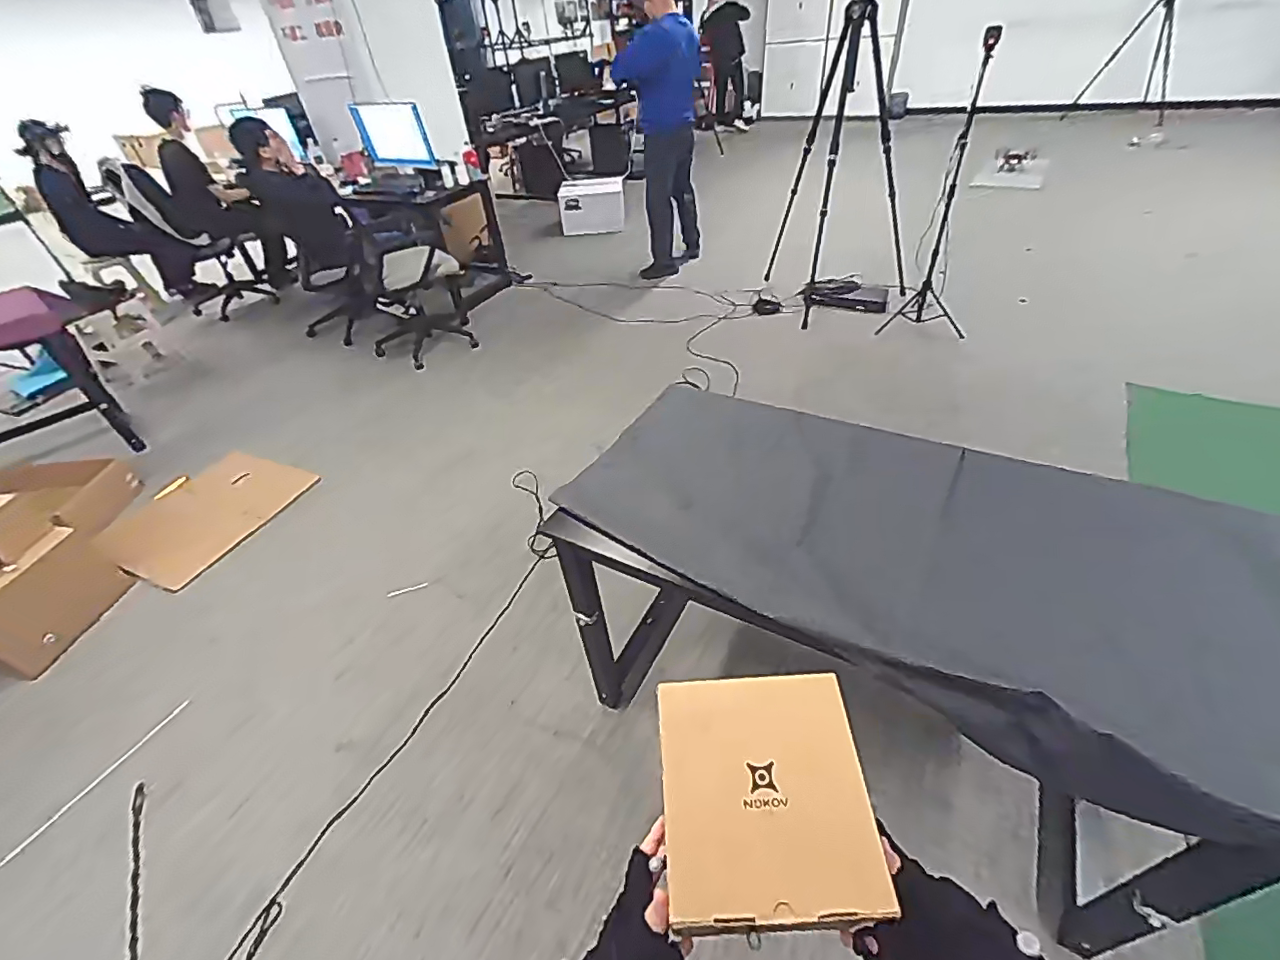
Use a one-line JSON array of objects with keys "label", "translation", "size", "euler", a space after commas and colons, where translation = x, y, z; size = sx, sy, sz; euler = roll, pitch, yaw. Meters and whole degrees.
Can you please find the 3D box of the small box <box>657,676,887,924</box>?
[{"label": "small box", "translation": [0.101, 0.303, 0.511], "size": [0.168, 0.176, 0.179], "euler": [-3, 50, 1]}]
